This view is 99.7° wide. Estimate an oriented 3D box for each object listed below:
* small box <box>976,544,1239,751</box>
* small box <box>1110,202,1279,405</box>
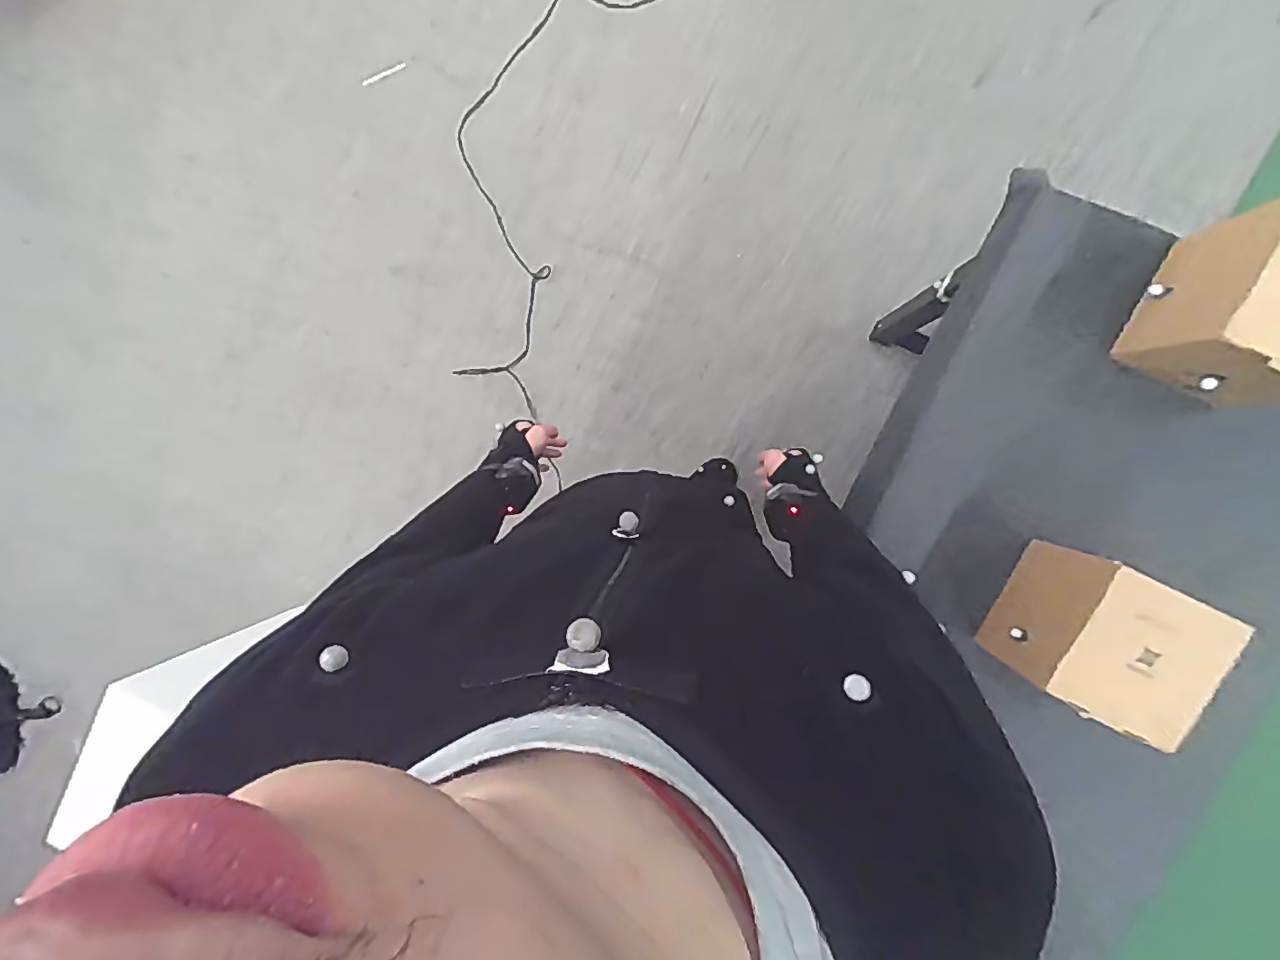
[{"bbox_3d":[0.587,0.205,0.712,0.168,0.176,0.179,26,94,1],"label":"small box"},{"bbox_3d":[0.748,-0.203,0.669,0.168,0.176,0.179,26,97,1],"label":"small box"}]
